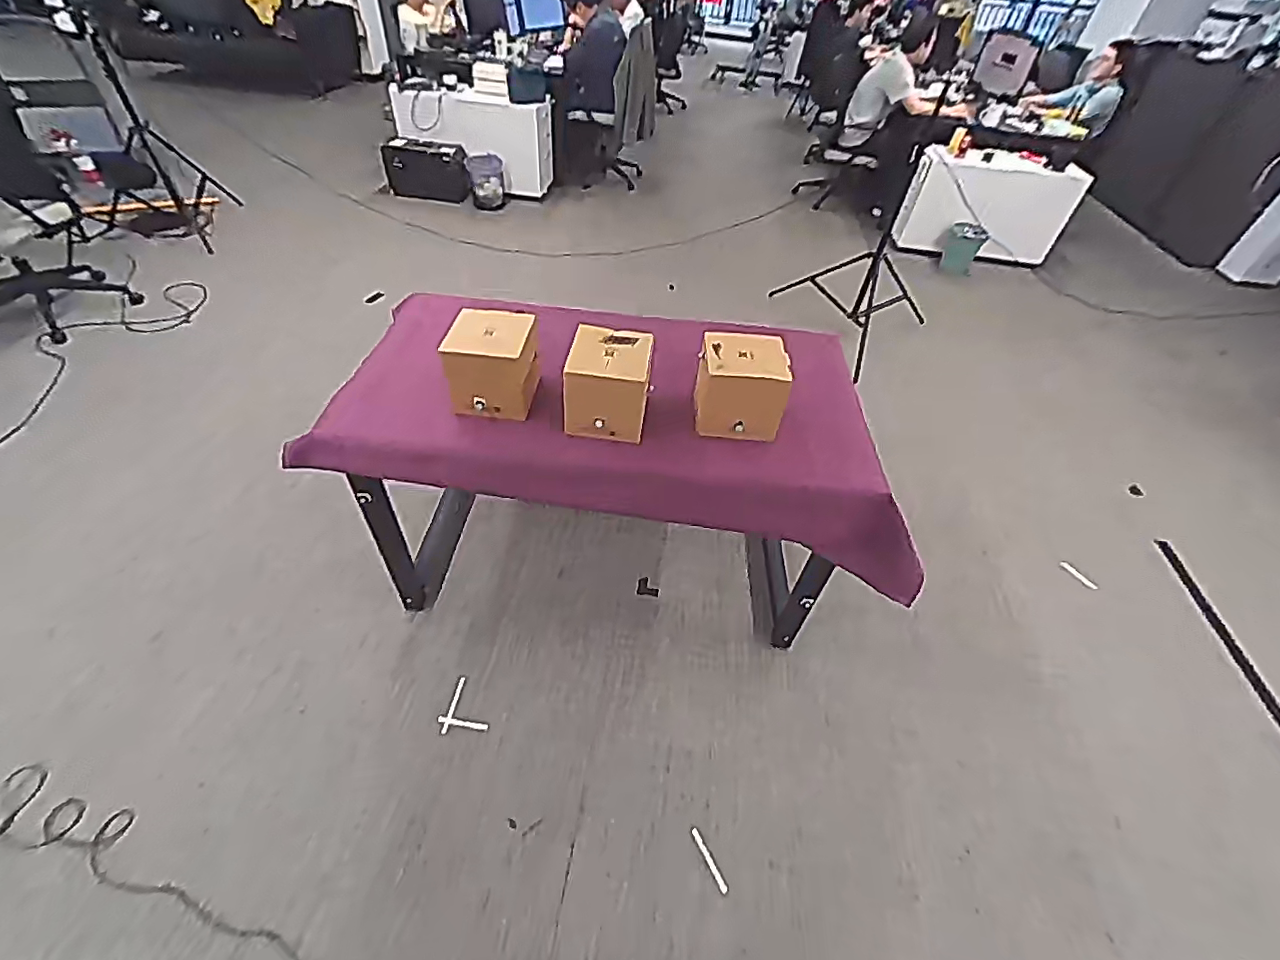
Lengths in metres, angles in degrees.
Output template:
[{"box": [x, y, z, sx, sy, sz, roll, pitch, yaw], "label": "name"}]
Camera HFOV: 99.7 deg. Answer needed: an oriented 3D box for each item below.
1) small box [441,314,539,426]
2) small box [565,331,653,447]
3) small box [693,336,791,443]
[{"box": [-0.321, -0.244, 1.201, 0.168, 0.176, 0.179, 5, 46, 0], "label": "small box"}, {"box": [-0.067, -0.198, 1.180, 0.168, 0.176, 0.179, 7, 45, 1], "label": "small box"}, {"box": [0.220, -0.199, 1.212, 0.179, 0.176, 0.168, 5, 45, -2], "label": "small box"}]
